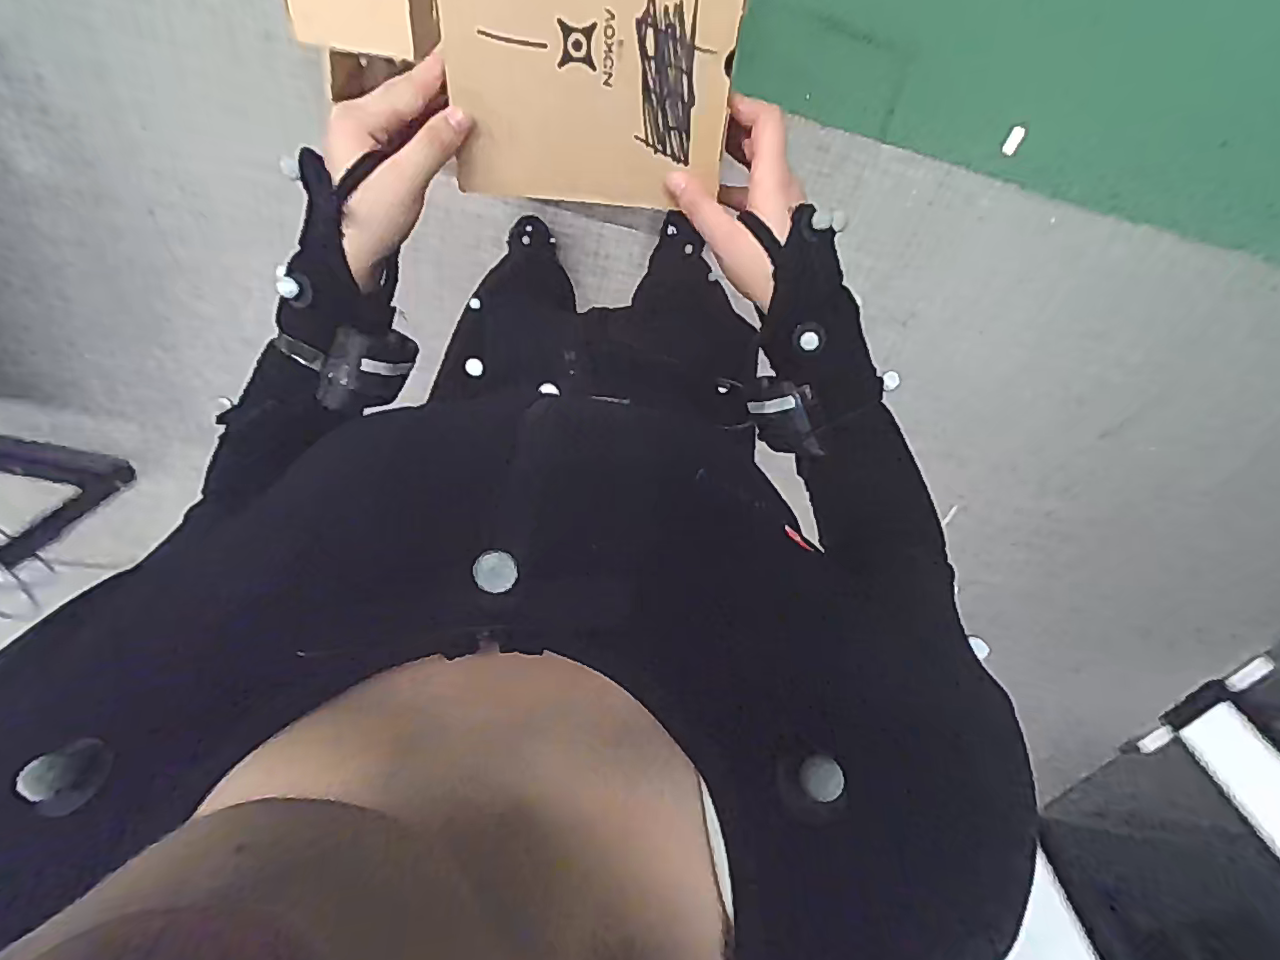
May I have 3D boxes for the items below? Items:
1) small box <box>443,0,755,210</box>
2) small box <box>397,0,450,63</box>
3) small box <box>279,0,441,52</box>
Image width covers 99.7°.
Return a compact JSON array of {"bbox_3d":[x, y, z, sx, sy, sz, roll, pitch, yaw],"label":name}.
[{"bbox_3d":[-0.027,-0.303,0.375,0.179,0.176,0.168,3,130,-4],"label":"small box"},{"bbox_3d":[-0.402,-0.836,0.922,0.179,0.176,0.168,14,125,-9],"label":"small box"},{"bbox_3d":[-0.408,-0.741,0.788,0.179,0.176,0.168,5,127,-5],"label":"small box"}]
